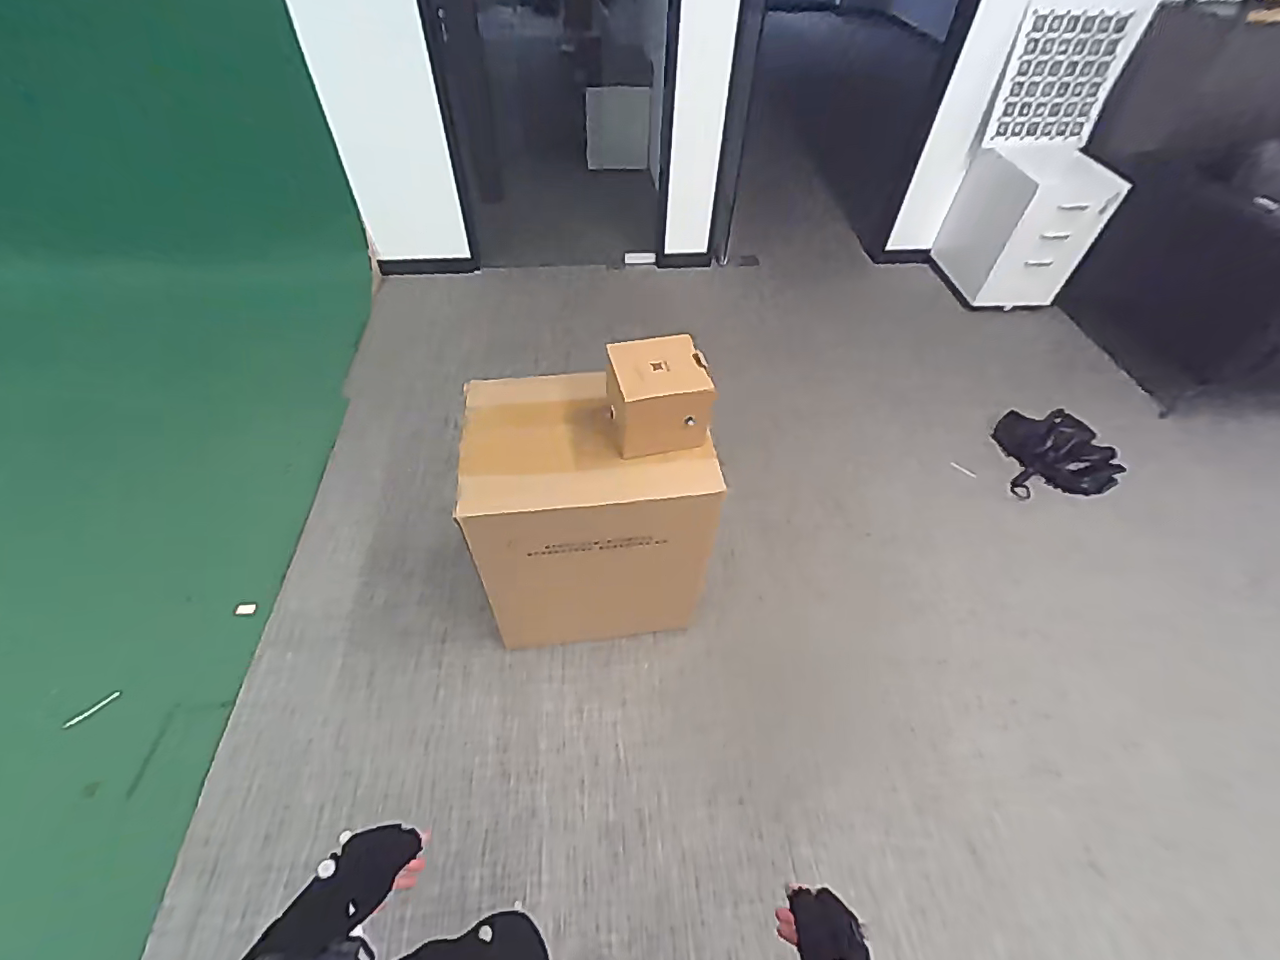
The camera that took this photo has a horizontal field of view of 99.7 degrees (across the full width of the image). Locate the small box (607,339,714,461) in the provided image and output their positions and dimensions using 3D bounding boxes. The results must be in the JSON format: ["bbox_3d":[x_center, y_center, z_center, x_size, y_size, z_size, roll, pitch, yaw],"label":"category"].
[{"bbox_3d":[0.034,-0.161,1.108,0.179,0.176,0.168,-12,54,-10],"label":"small box"}]
